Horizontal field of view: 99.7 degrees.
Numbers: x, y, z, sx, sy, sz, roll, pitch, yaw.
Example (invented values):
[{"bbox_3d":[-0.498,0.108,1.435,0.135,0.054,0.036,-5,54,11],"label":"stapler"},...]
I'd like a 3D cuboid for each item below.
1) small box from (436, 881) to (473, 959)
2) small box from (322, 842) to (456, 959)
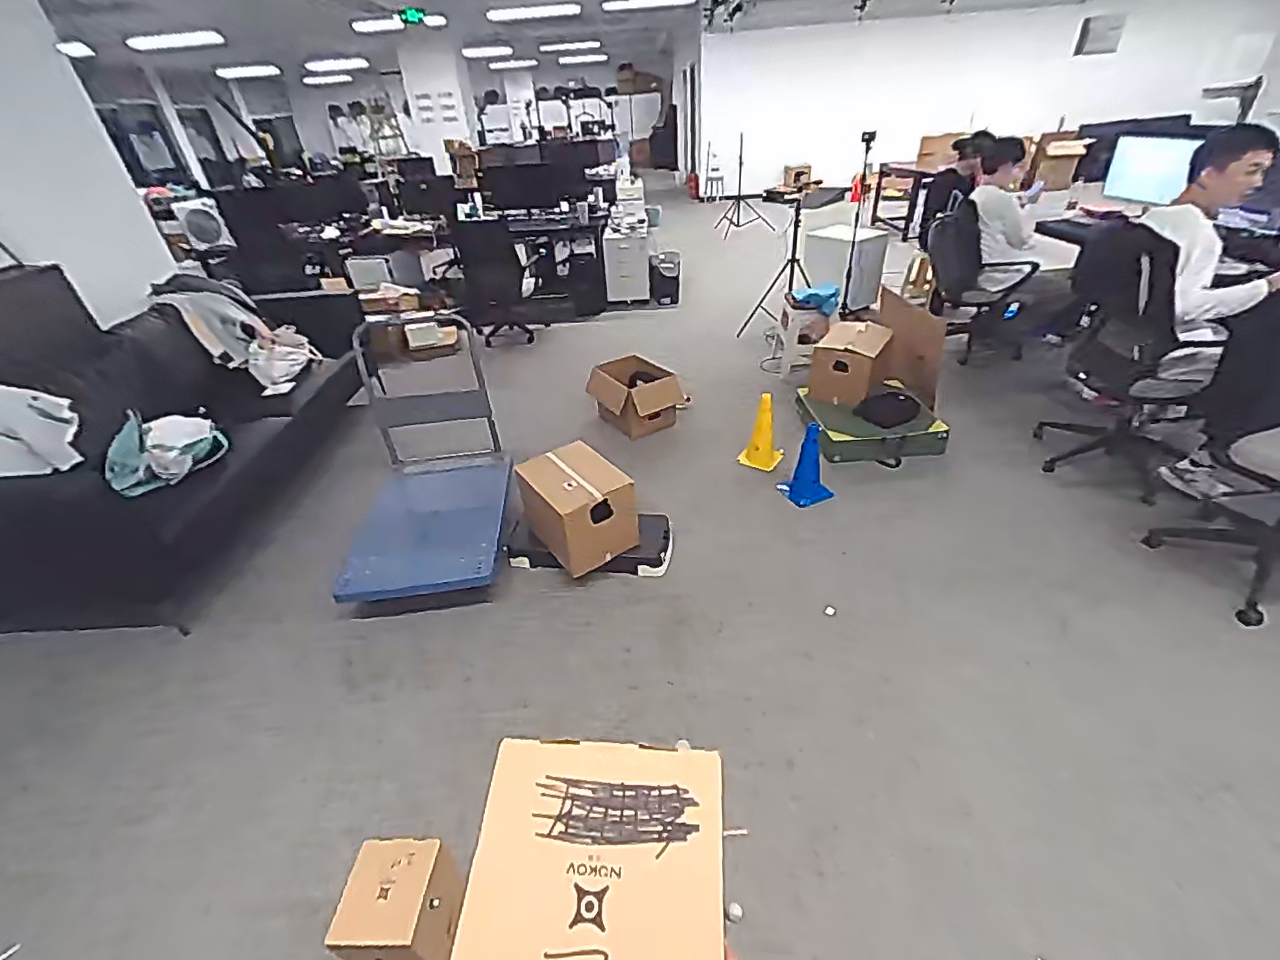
[{"bbox_3d":[-0.483,0.997,1.177,0.179,0.176,0.168,-3,34,3],"label":"small box"},{"bbox_3d":[-0.487,0.860,1.085,0.168,0.176,0.179,-2,34,3],"label":"small box"}]
